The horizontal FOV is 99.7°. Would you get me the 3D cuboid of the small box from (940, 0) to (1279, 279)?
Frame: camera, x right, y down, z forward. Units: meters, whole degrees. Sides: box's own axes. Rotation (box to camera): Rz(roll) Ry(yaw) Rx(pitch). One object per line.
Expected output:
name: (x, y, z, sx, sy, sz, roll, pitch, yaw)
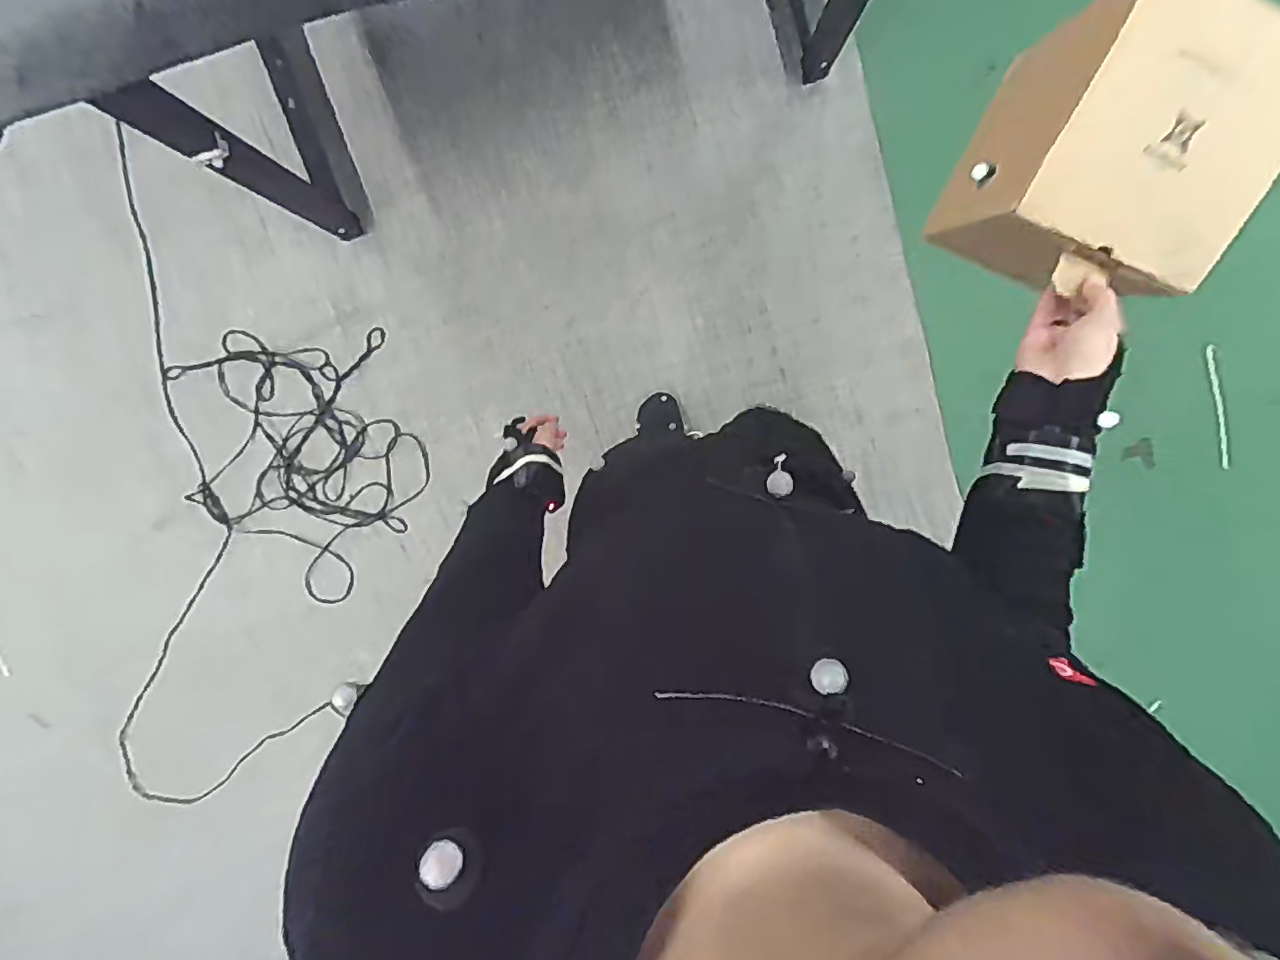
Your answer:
small box: (0.393, -0.282, 0.457, 0.168, 0.176, 0.179, 20, 108, -5)
